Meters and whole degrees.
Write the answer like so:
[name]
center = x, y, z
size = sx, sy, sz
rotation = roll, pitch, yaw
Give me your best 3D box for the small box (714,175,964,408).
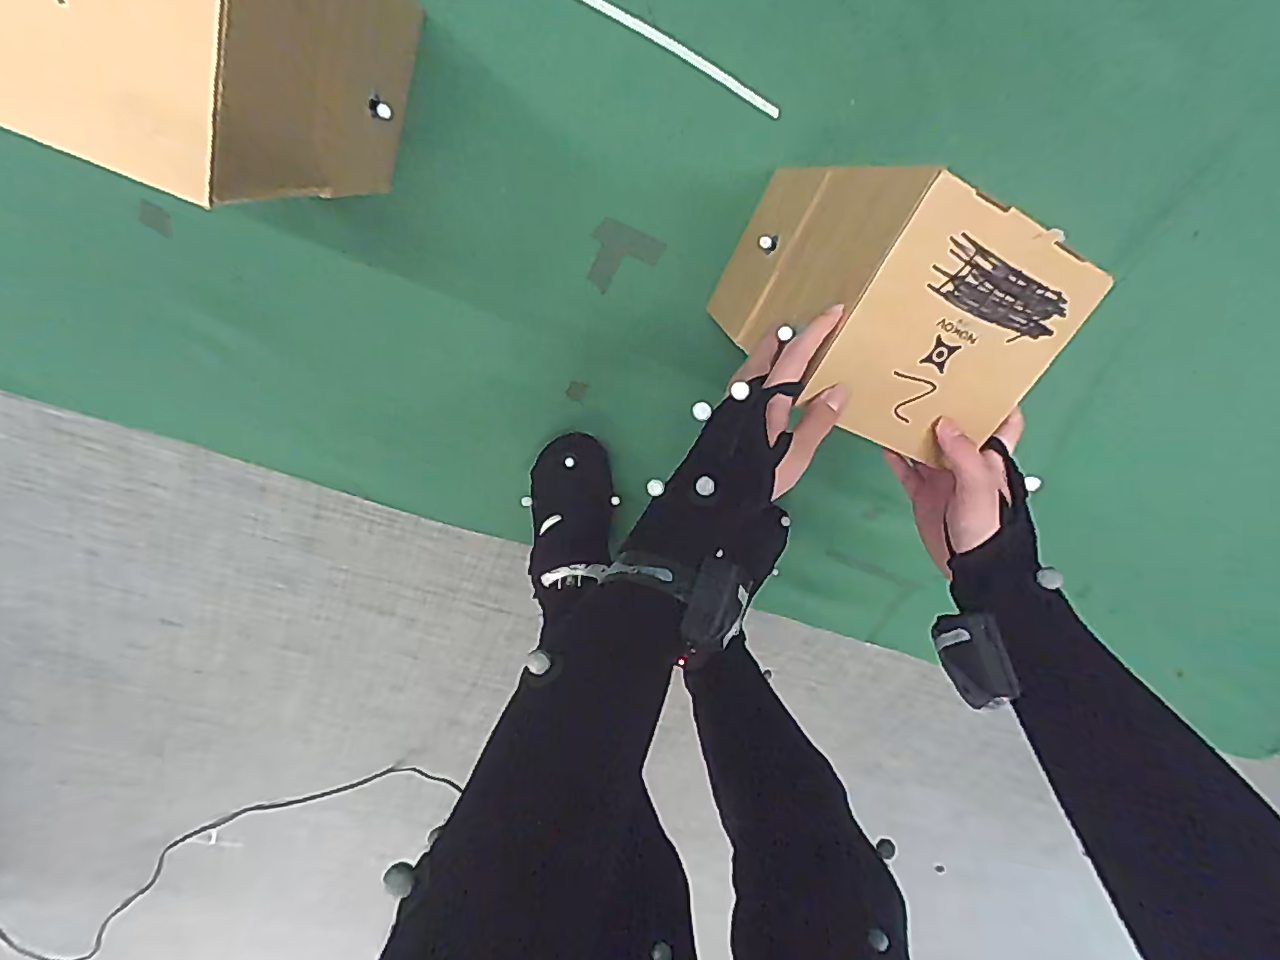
[small box]
center = 0.200, -0.214, 0.605
size = 0.168, 0.176, 0.179
rotation = 21, 115, -15
